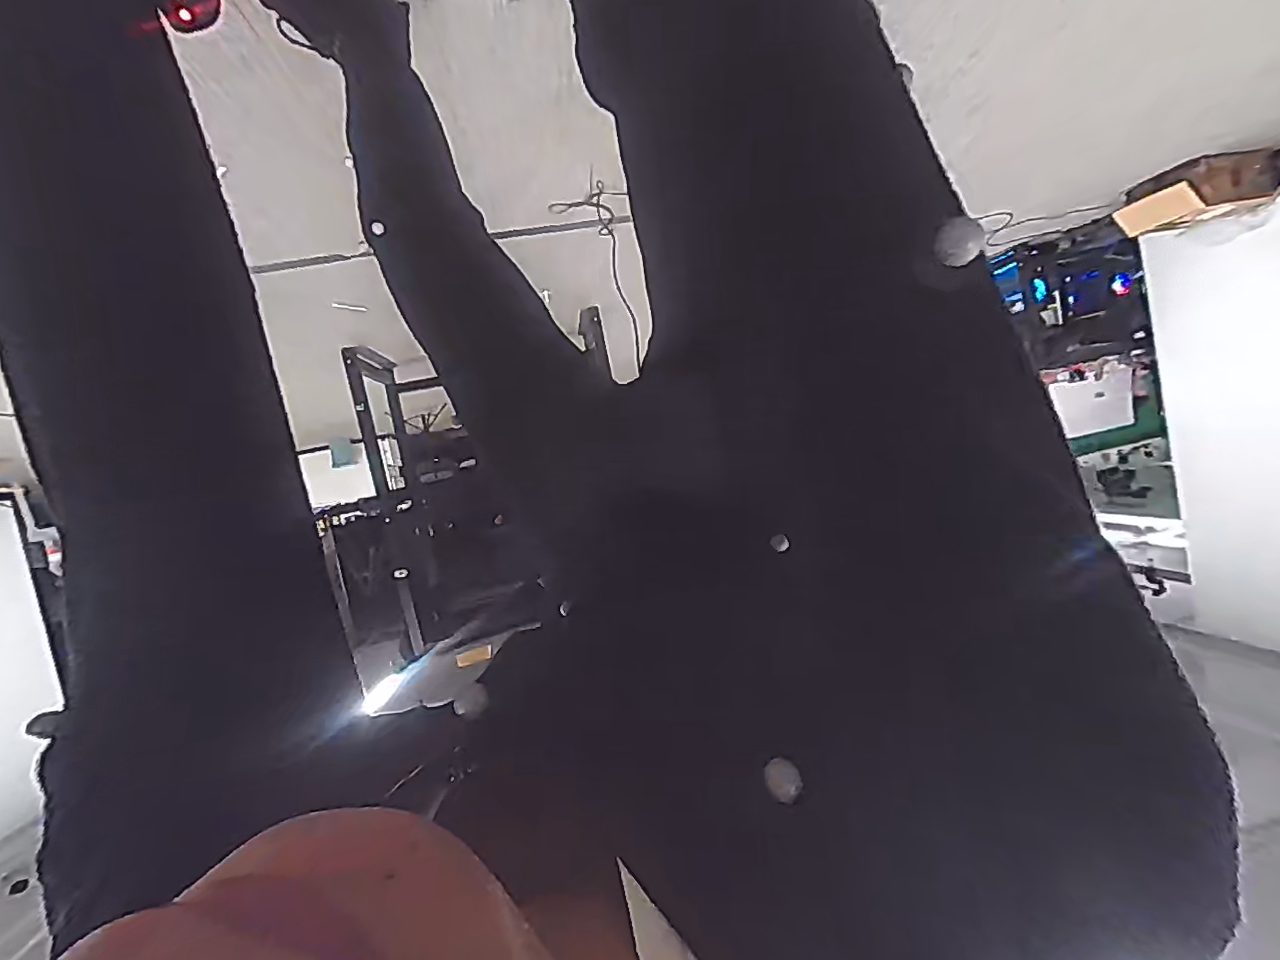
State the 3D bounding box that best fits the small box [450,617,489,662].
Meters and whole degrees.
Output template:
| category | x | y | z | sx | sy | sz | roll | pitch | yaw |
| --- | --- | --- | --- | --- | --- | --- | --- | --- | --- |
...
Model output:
| category | x | y | z | sx | sy | sz | roll | pitch | yaw |
| --- | --- | --- | --- | --- | --- | --- | --- | --- | --- |
| small box | -0.915 | 0.854 | 2.909 | 0.168 | 0.176 | 0.179 | -13 | -178 | -14 |
